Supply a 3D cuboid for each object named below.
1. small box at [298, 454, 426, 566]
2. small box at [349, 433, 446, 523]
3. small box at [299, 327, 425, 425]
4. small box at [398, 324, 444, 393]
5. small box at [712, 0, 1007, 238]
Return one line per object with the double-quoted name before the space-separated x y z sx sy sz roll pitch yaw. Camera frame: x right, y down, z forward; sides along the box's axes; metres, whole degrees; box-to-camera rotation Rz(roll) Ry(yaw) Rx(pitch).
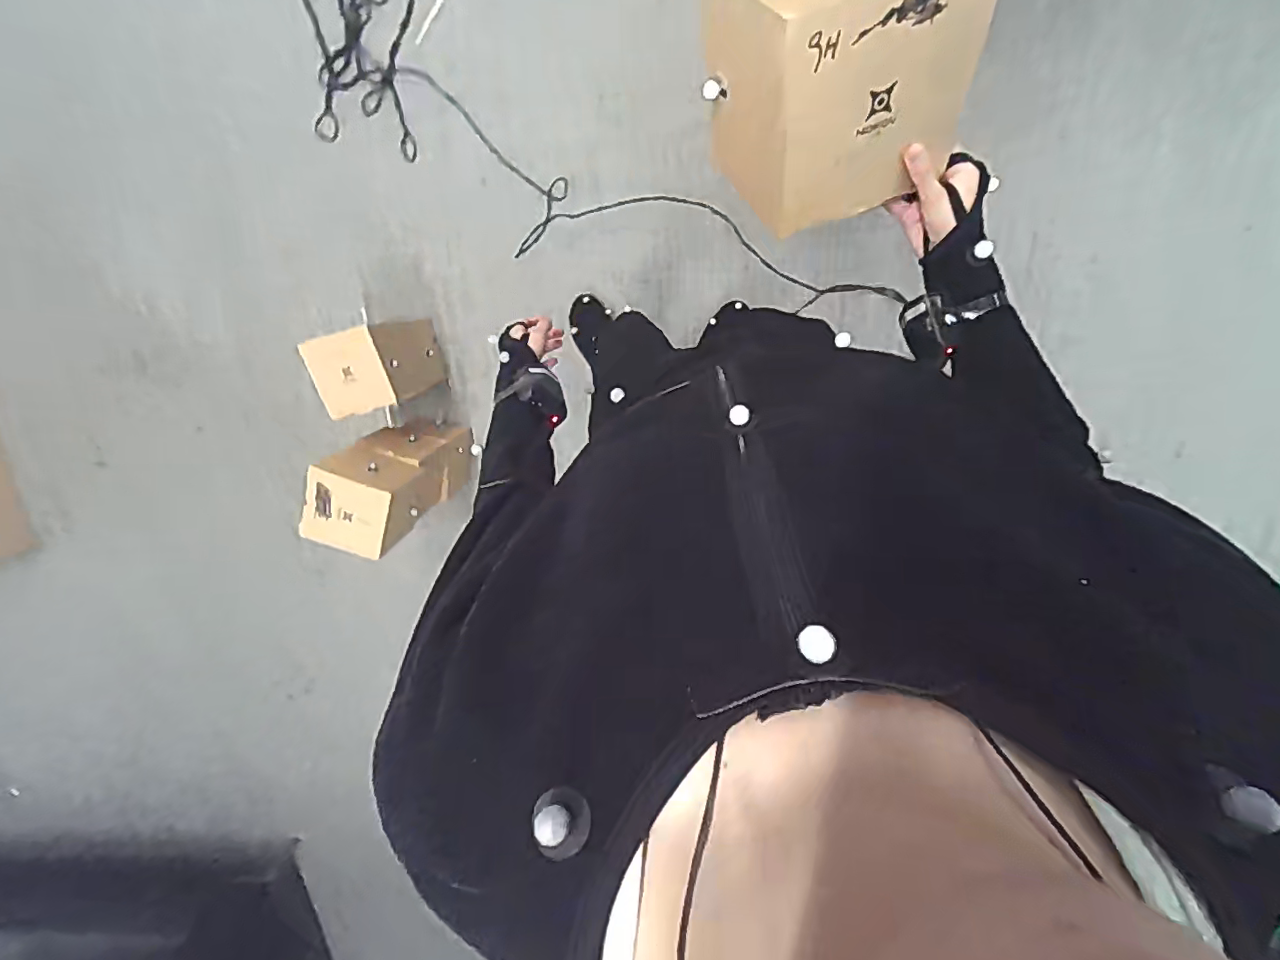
"small box" -0.600 0.056 1.178 0.179 0.176 0.168 19 109 -3
"small box" -0.596 0.001 1.333 0.168 0.176 0.179 15 108 -1
"small box" -0.627 -0.244 1.247 0.168 0.176 0.179 -13 108 7
"small box" -0.630 -0.303 1.399 0.179 0.176 0.168 -9 108 7
"small box" 0.169 -0.357 0.472 0.168 0.176 0.179 -20 148 -1
